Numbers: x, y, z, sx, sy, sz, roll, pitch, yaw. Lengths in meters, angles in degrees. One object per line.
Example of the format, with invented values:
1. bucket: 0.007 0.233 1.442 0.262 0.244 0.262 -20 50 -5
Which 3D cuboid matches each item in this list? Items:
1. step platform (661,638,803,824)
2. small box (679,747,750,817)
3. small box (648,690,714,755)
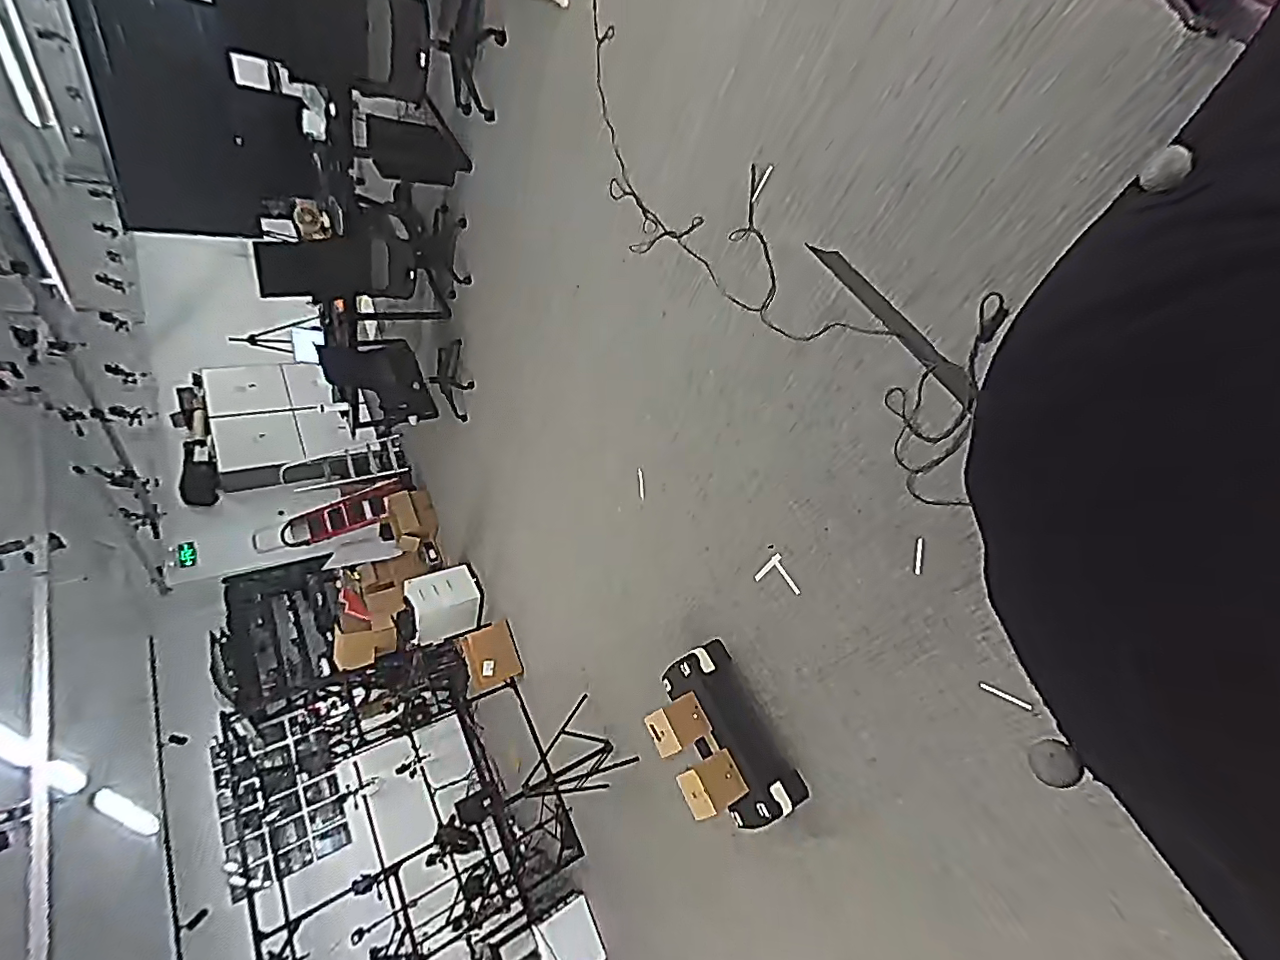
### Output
1. step platform: 0.355 1.021 2.224 0.684 0.204 0.286 58 142 24
2. small box: 0.284 1.149 2.057 0.168 0.176 0.179 59 142 24
3. small box: 0.166 0.971 2.170 0.168 0.176 0.179 60 142 22
